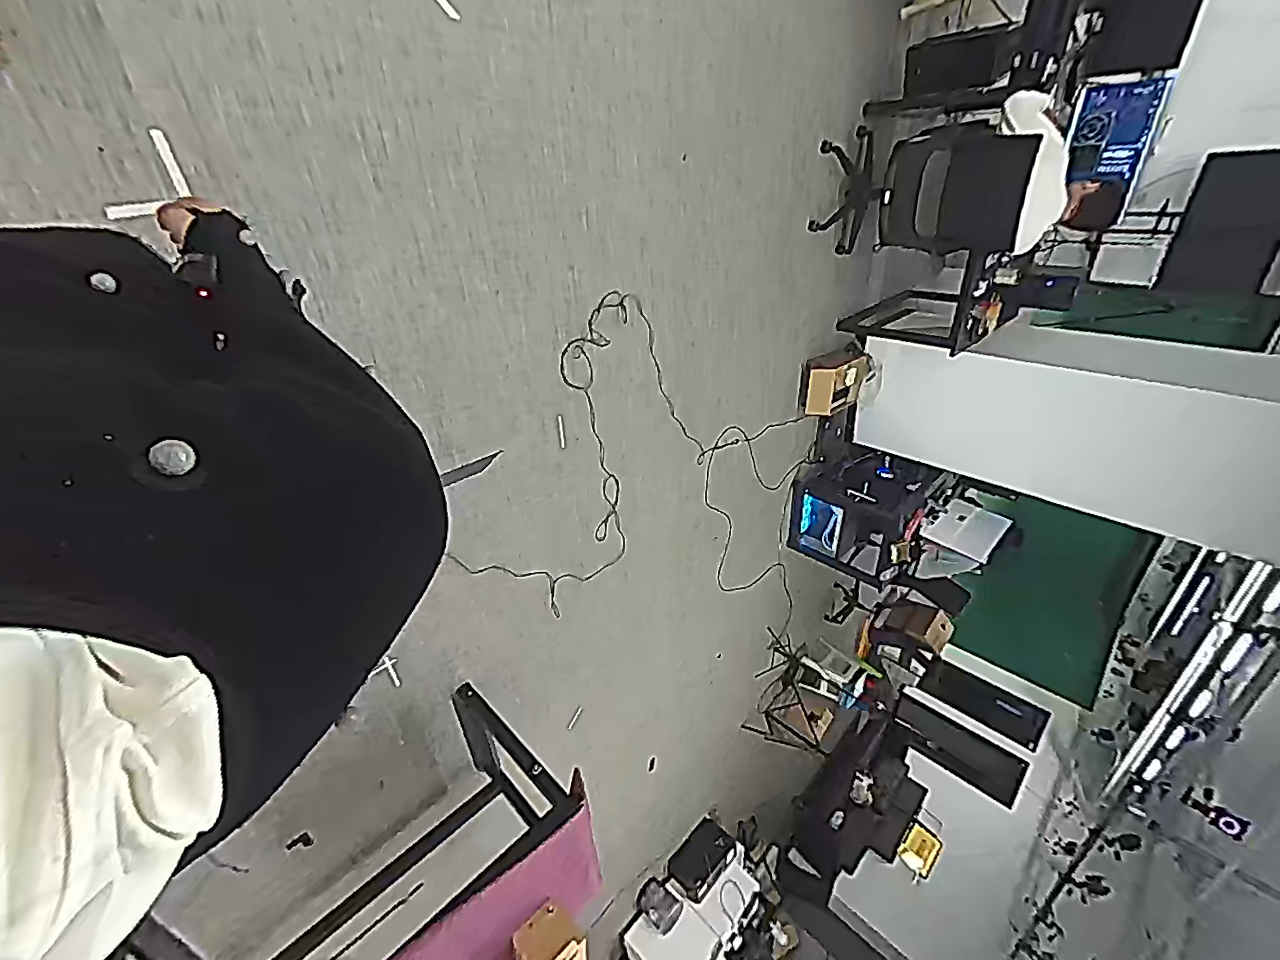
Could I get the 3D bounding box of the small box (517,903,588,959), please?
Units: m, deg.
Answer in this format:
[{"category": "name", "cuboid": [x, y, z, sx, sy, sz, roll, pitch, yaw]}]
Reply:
[{"category": "small box", "cuboid": [-0.285, 1.530, 1.752, 0.168, 0.176, 0.179, -22, 124, -40]}]
